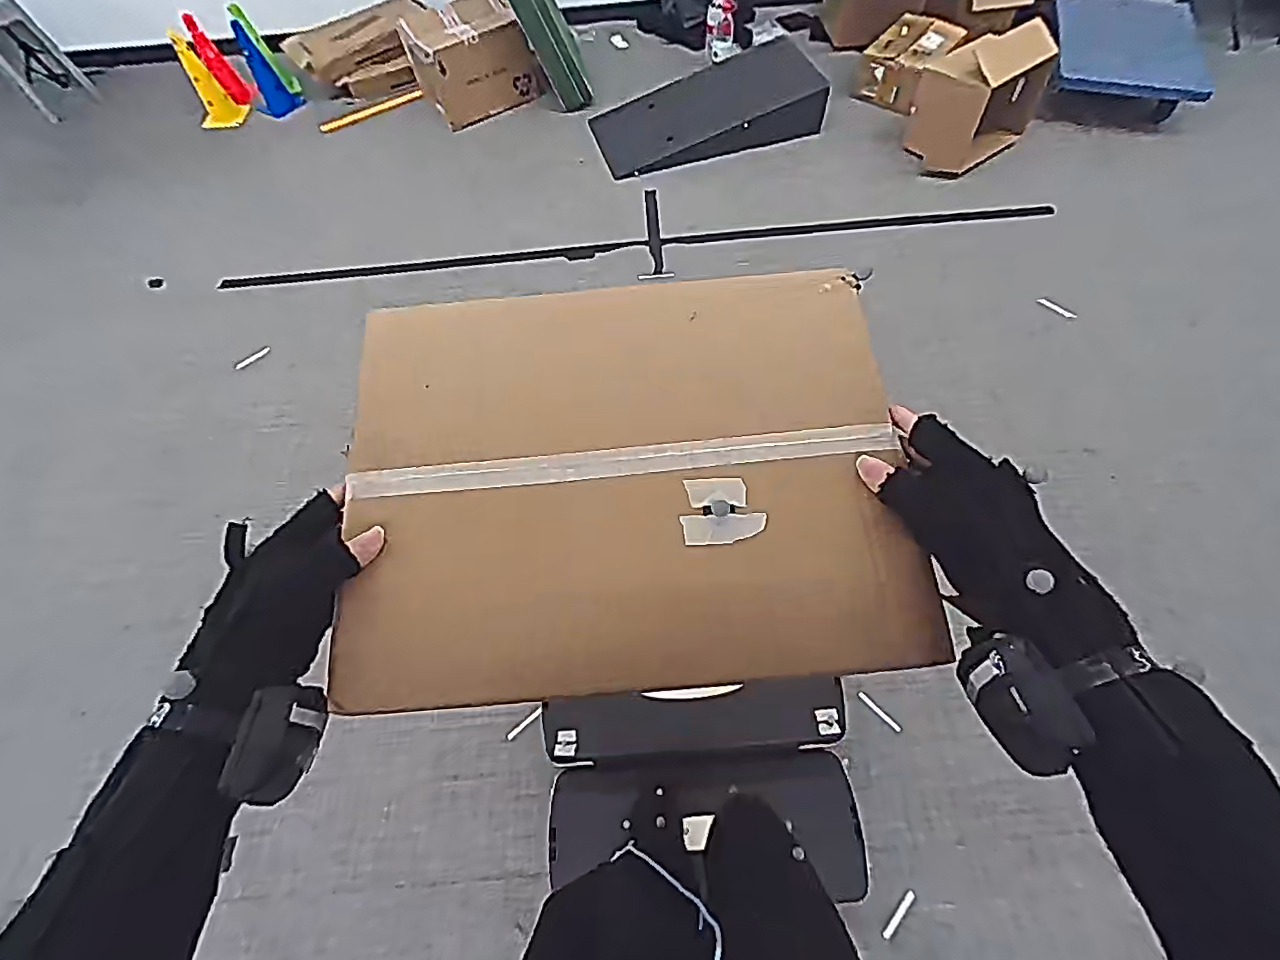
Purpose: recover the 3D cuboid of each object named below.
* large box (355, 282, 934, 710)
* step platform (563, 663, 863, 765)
[{"bbox_3d":[-0.006,0.042,0.553,0.408,0.320,0.320,-5,71,0],"label":"large box"},{"bbox_3d":[0.159,0.494,1.287,0.684,0.204,0.286,-5,62,0],"label":"step platform"}]
